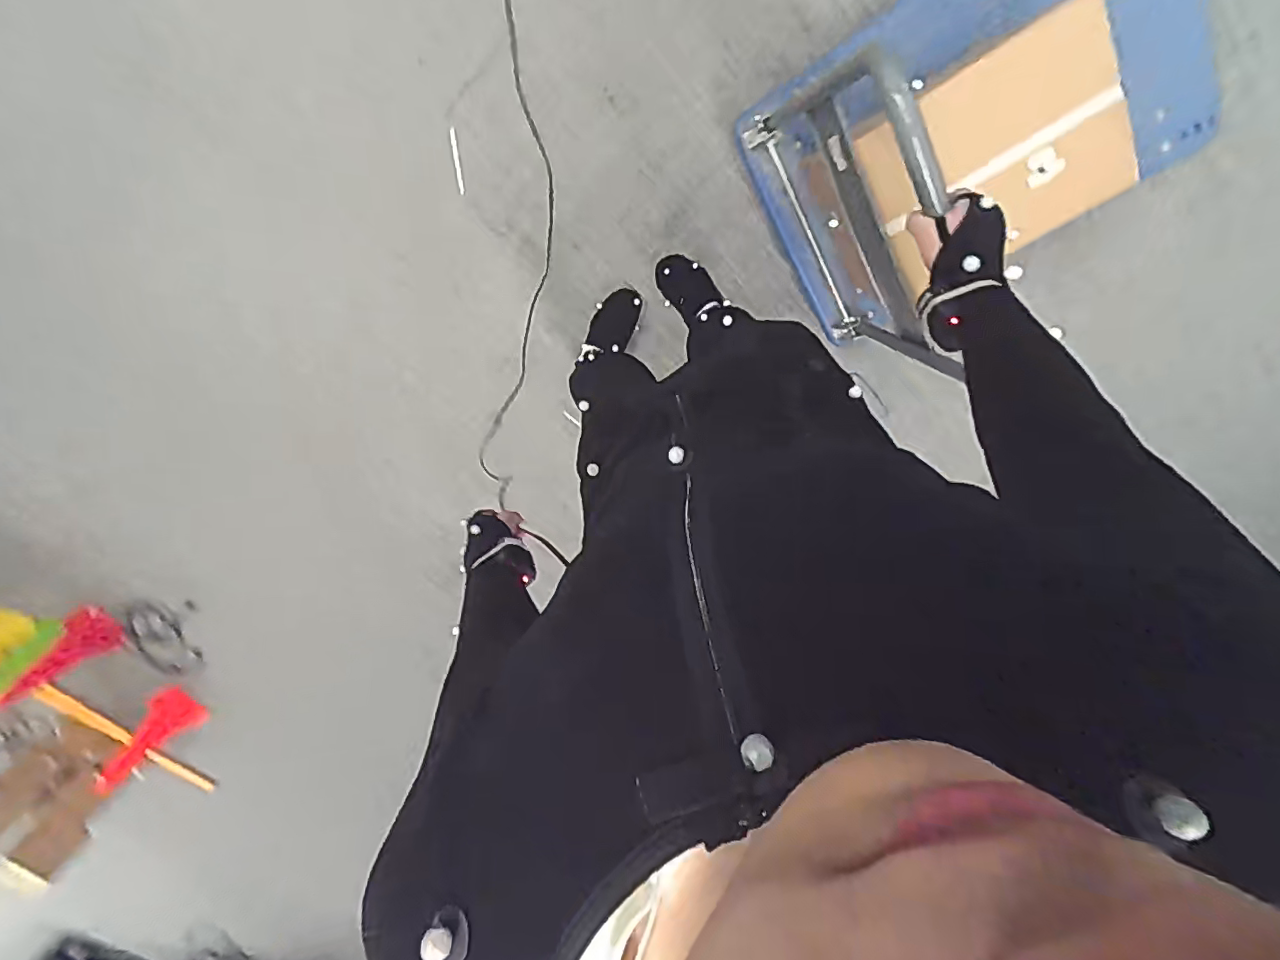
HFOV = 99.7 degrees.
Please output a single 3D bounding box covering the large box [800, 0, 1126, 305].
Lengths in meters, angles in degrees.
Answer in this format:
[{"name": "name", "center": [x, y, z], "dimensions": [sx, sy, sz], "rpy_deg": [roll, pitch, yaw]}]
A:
[{"name": "large box", "center": [0.592, -0.602, 1.059], "dimensions": [0.408, 0.320, 0.320], "rpy_deg": [-29, 112, 14]}]
